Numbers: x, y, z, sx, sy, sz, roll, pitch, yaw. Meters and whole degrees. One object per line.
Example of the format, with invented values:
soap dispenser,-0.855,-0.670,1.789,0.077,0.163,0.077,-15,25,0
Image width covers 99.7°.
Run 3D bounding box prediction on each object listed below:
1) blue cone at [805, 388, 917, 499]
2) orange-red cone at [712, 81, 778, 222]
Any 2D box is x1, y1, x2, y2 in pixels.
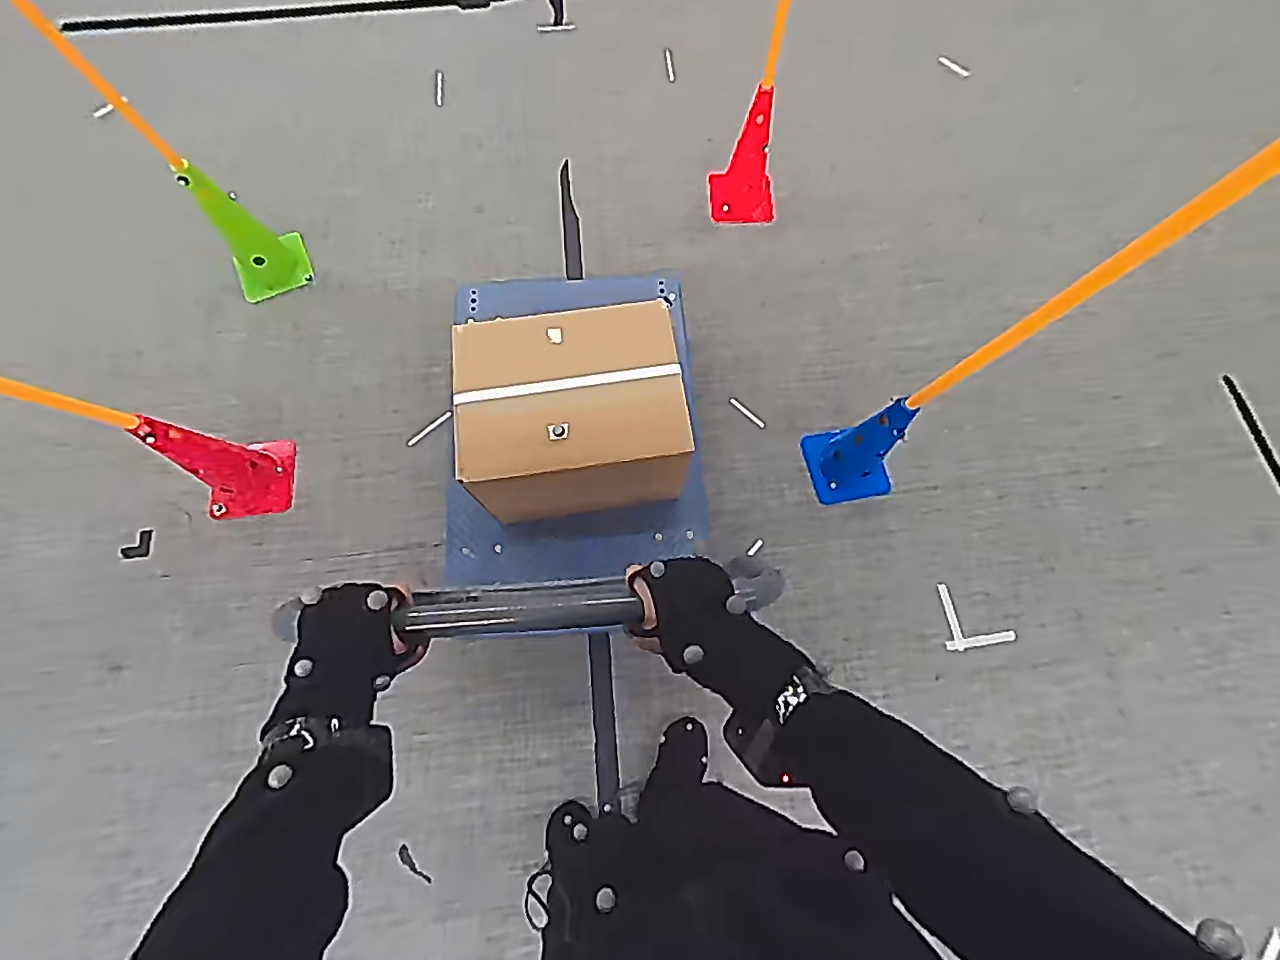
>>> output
blue cone,0.551,-0.102,1.279,0.193,0.380,0.192,-9,71,-4
orange-red cone,0.331,-0.947,1.539,0.199,0.360,0.198,1,72,-1
